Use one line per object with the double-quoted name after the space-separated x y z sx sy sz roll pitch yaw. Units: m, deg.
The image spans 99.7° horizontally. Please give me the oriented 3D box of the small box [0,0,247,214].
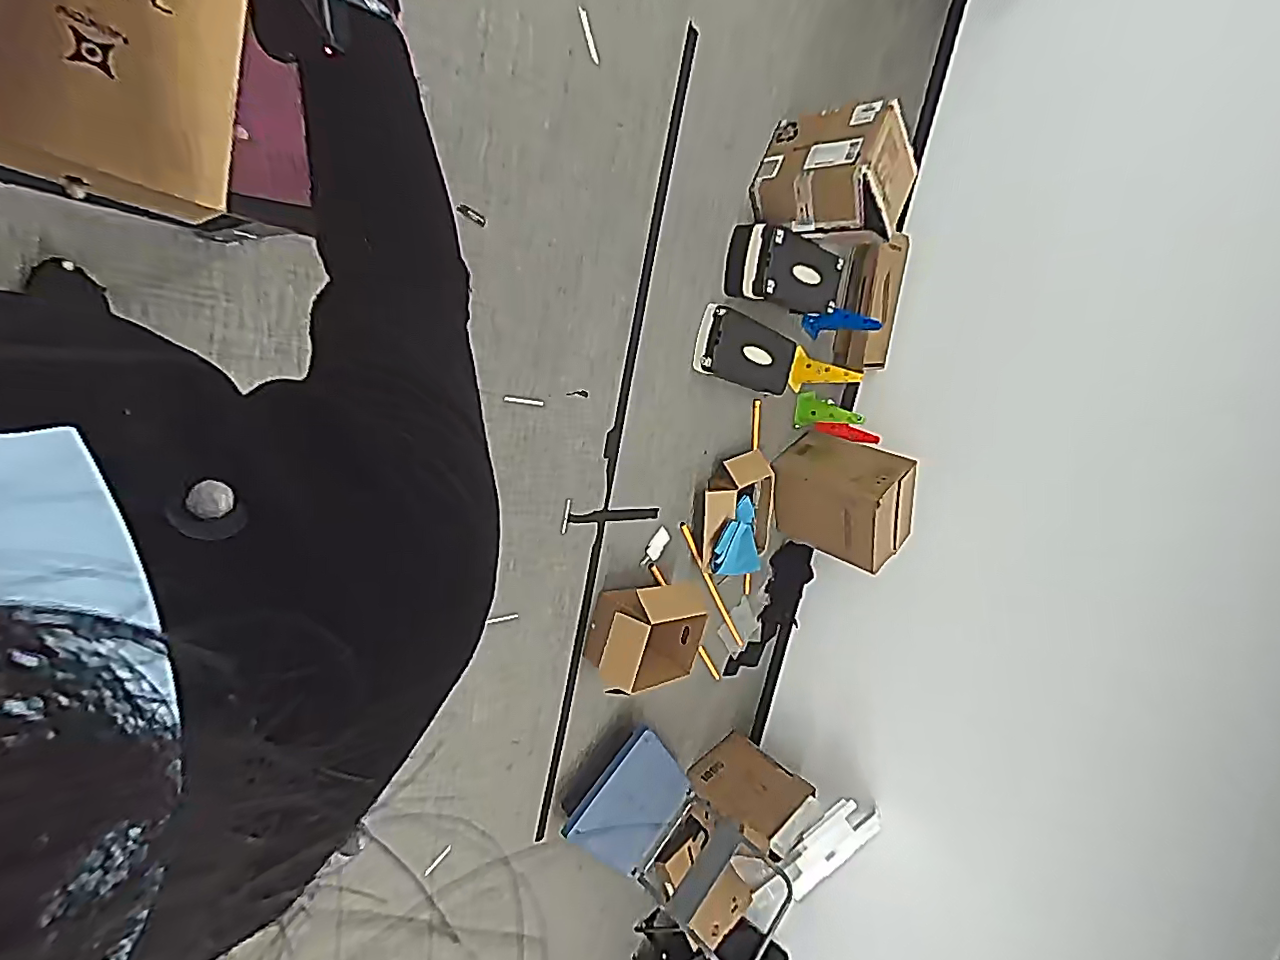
-0.441 -0.335 0.434 0.168 0.176 0.179 4 101 -47 "small box"
